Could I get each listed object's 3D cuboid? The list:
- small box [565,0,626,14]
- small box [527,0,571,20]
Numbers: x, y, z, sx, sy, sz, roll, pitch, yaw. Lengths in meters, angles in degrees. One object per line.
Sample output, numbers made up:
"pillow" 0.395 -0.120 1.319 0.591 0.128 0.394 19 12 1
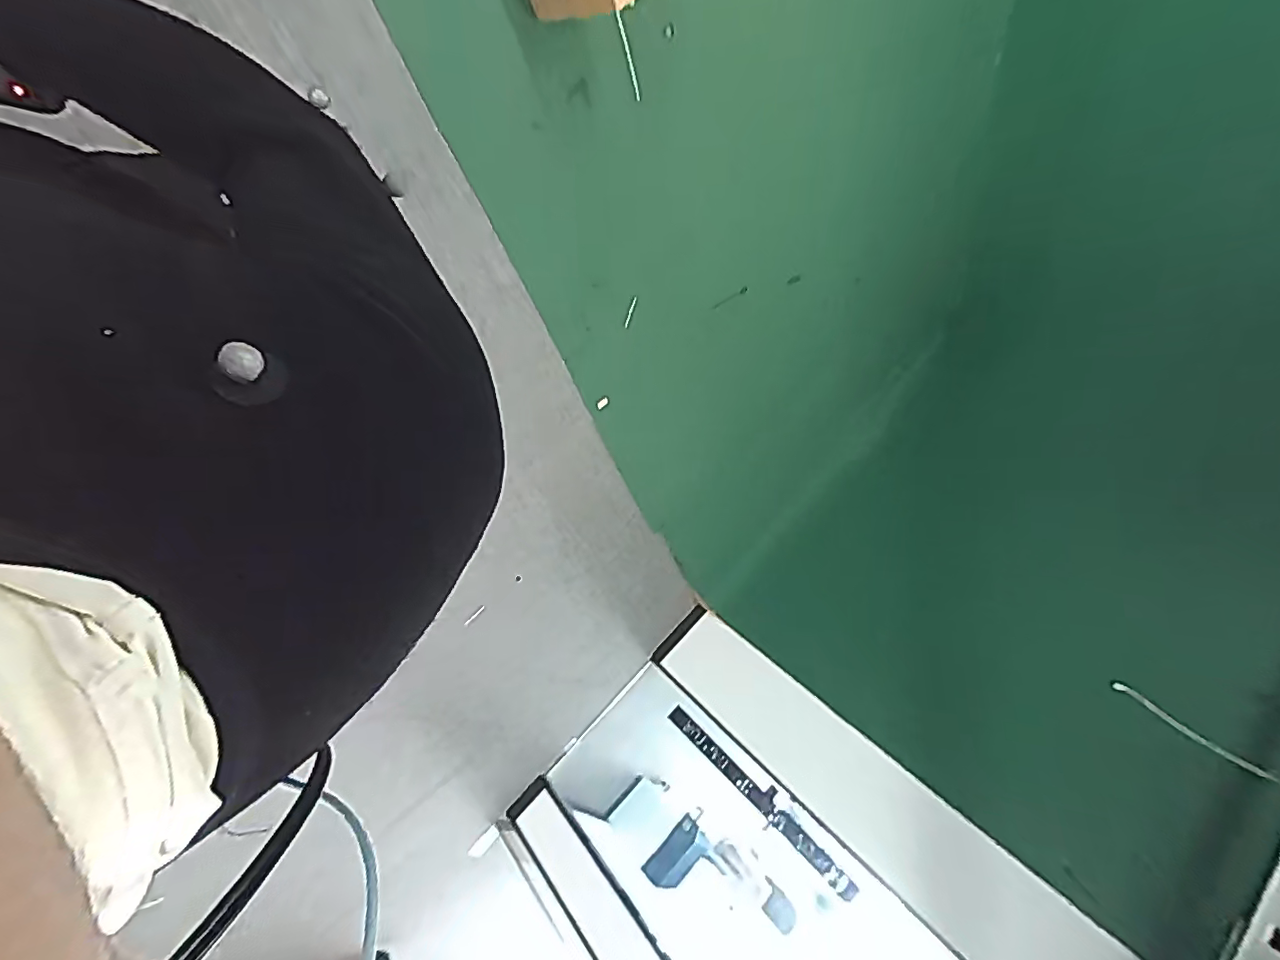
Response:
"small box" -0.088 -1.227 1.257 0.179 0.176 0.168 -45 141 -12
"small box" -0.200 -1.294 1.354 0.179 0.176 0.168 -46 140 -14
